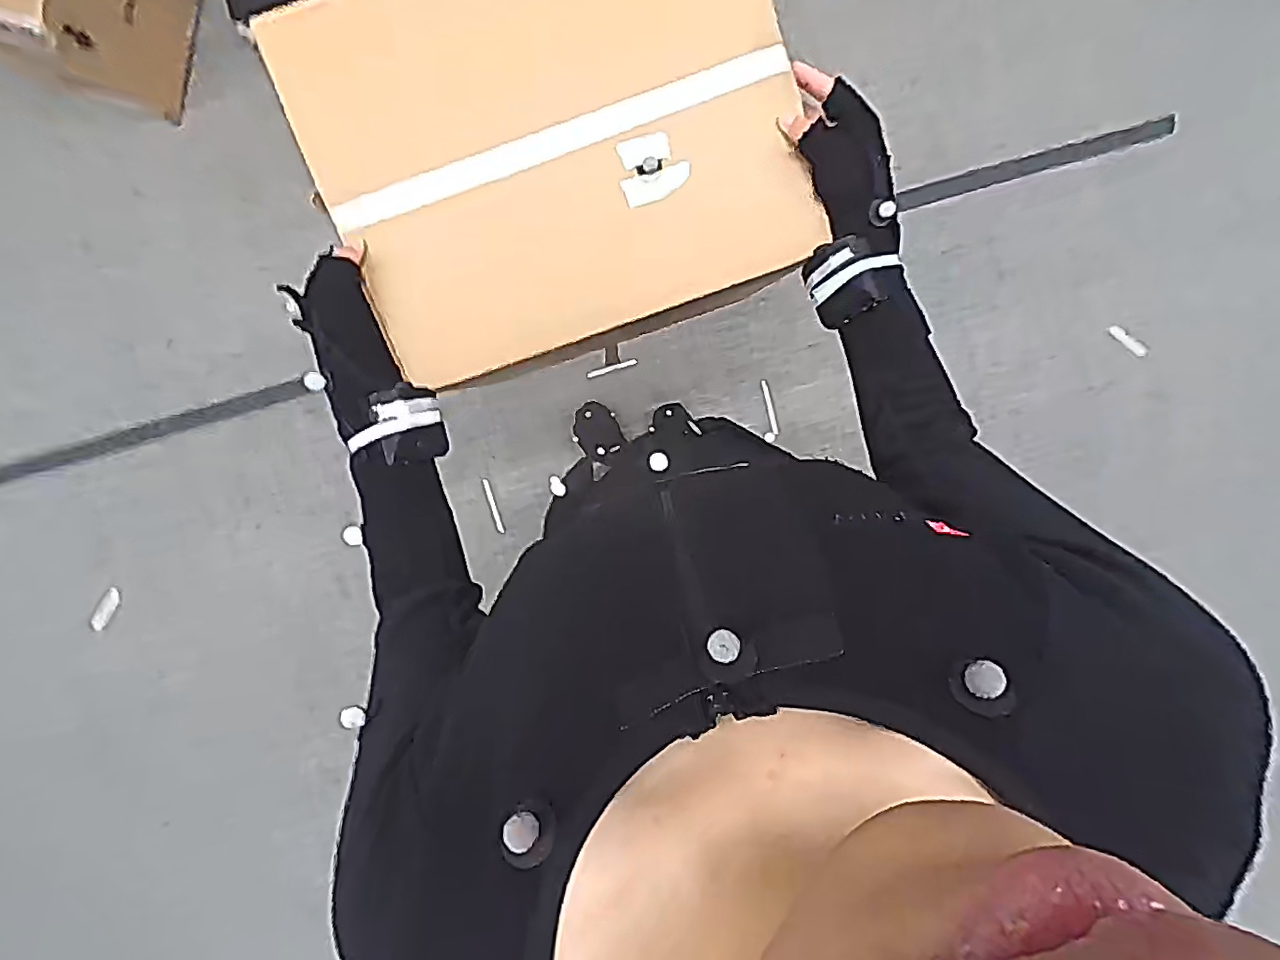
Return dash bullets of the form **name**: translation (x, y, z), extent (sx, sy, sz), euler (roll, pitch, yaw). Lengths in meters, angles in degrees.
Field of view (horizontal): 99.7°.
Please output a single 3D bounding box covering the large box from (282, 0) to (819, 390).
- **large box**: translation (-0.076, -0.317, 0.622), extent (0.408, 0.320, 0.320), euler (-19, 102, 1)
